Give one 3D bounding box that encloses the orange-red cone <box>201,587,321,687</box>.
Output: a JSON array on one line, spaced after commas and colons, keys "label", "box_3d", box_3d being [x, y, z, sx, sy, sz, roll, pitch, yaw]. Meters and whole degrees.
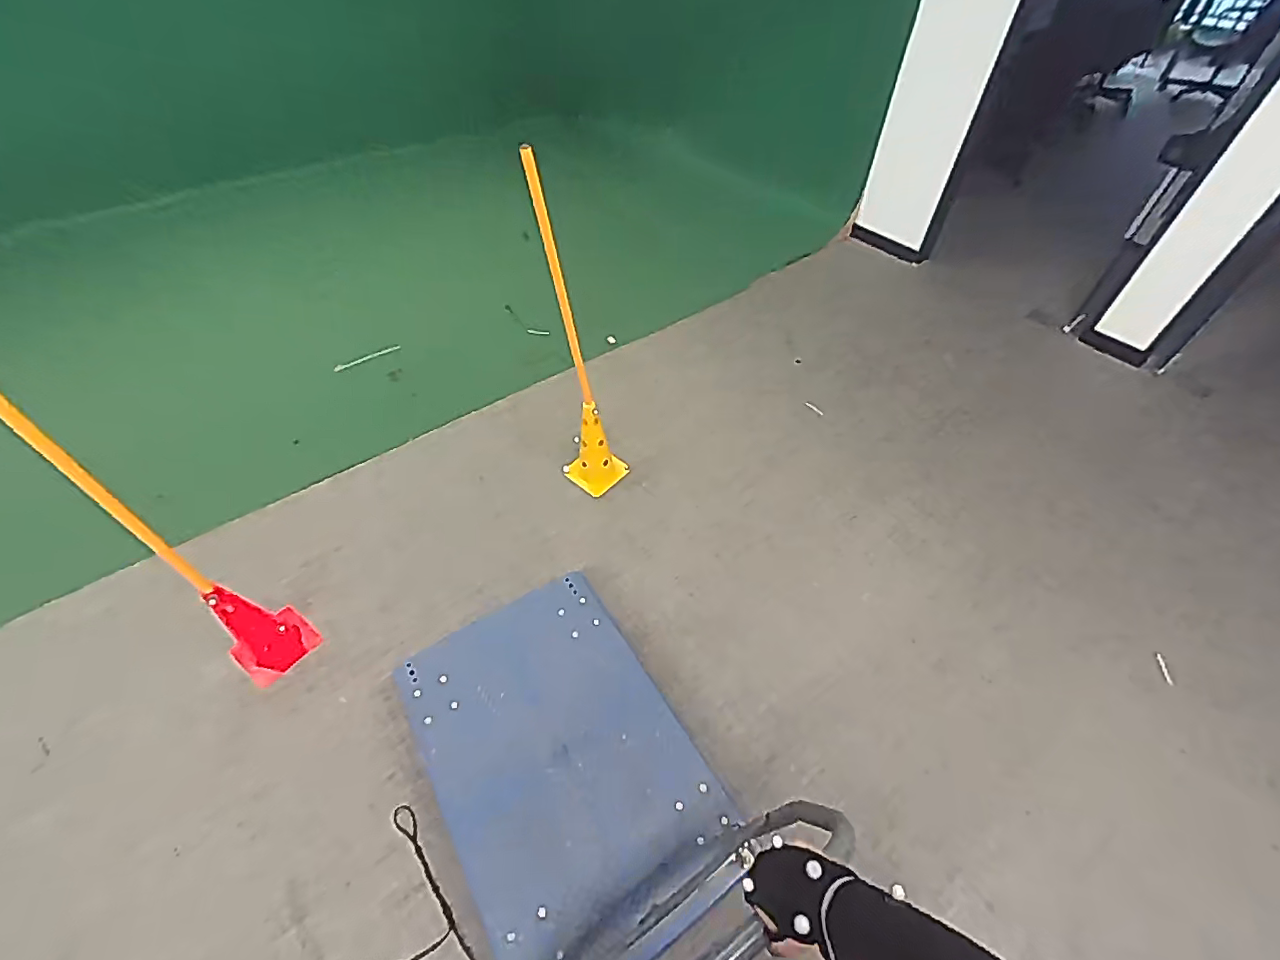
[{"label": "orange-red cone", "box_3d": [-1.115, 0.406, 1.533, 0.198, 0.360, 0.199, 30, 58, 24]}]
